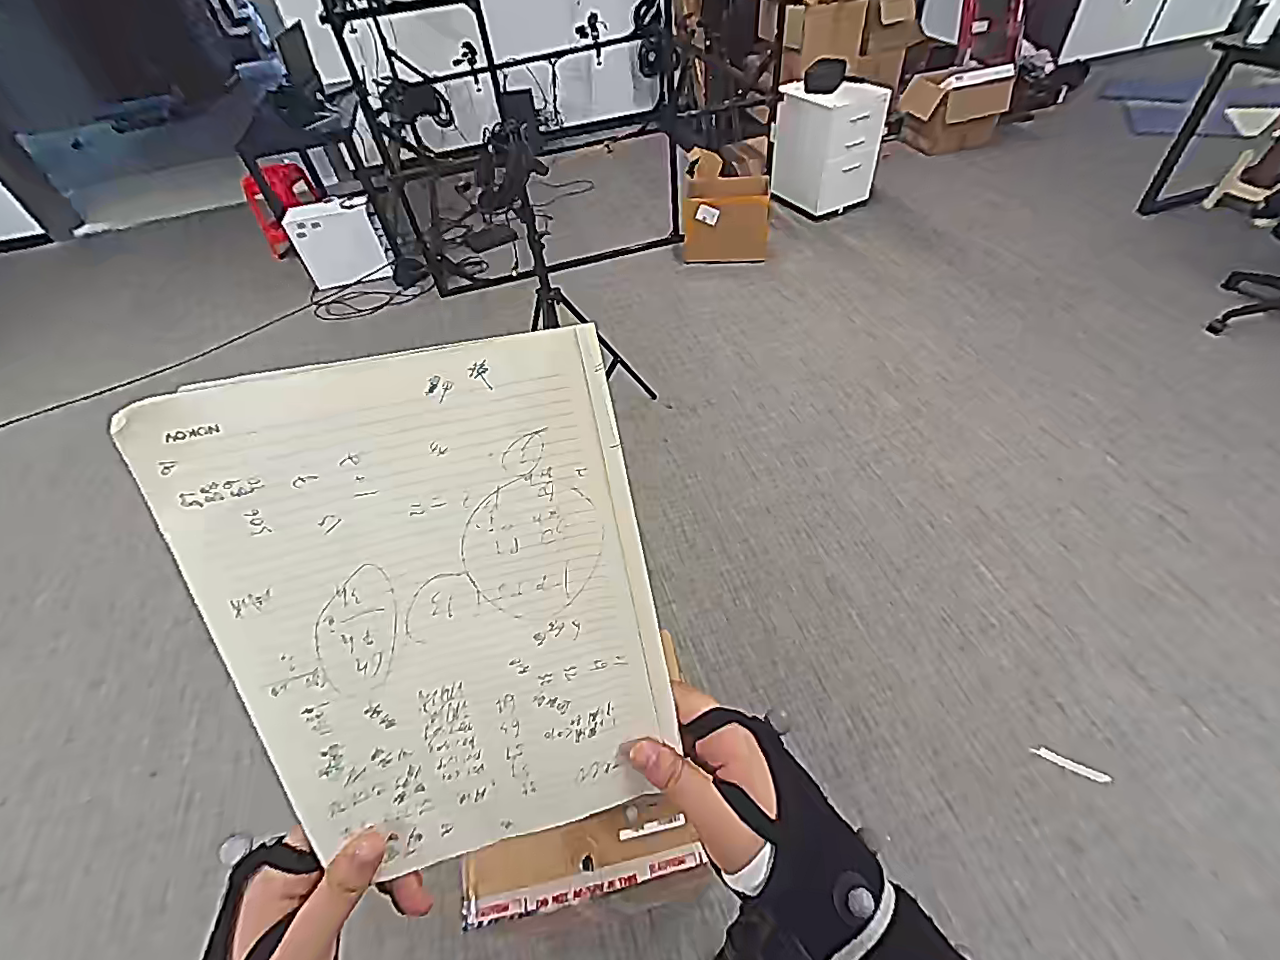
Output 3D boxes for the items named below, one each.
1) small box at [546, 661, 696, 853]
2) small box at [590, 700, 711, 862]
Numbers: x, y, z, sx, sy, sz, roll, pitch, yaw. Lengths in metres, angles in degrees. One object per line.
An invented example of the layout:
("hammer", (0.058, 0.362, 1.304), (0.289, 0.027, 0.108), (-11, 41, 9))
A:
("small box", (-0.028, 0.367, 0.715), (0.168, 0.176, 0.179), (-9, 50, -5))
("small box", (-0.001, 0.470, 0.842), (0.179, 0.176, 0.168), (-13, 49, -7))
